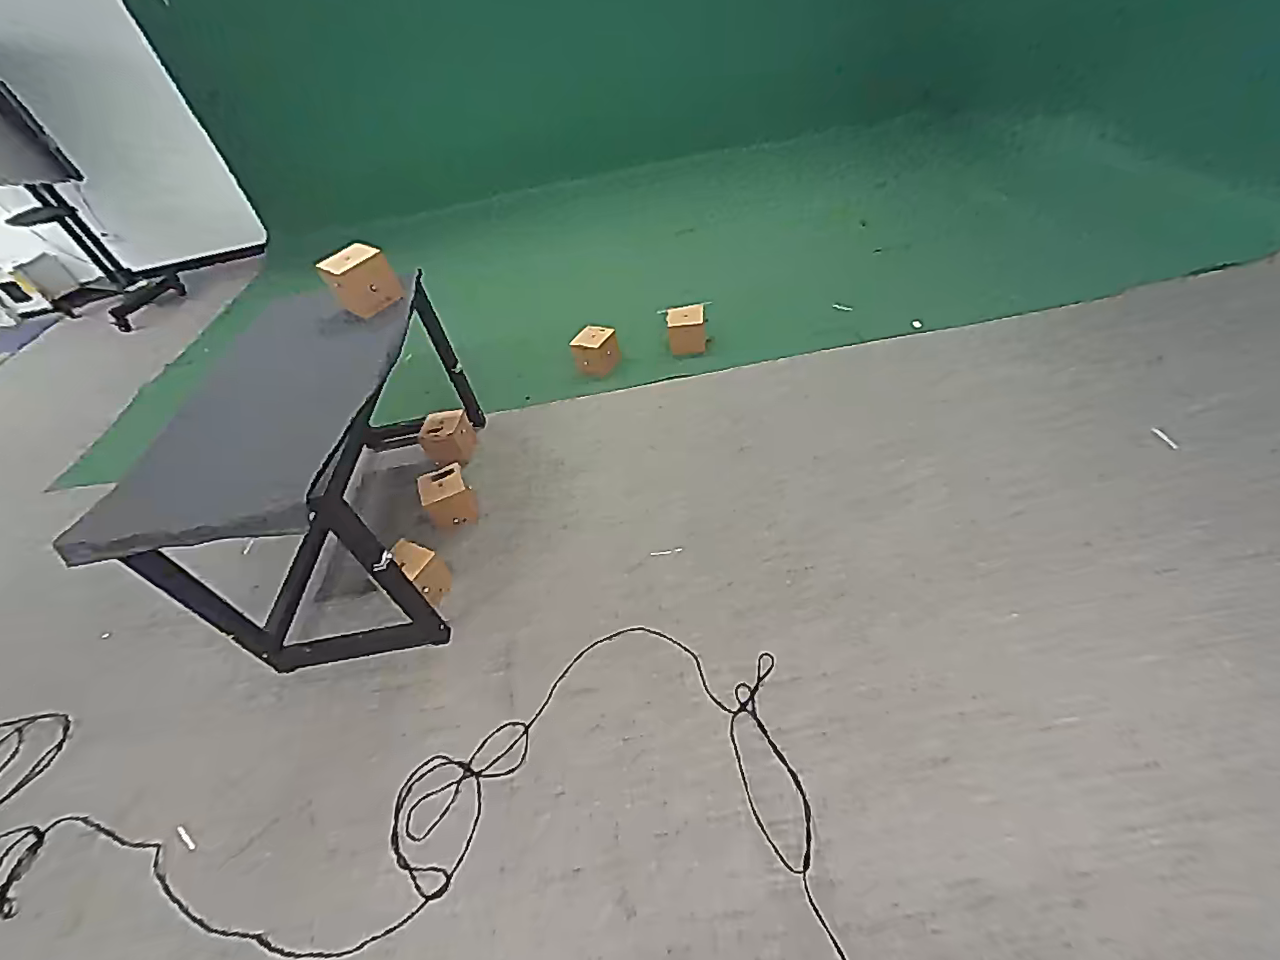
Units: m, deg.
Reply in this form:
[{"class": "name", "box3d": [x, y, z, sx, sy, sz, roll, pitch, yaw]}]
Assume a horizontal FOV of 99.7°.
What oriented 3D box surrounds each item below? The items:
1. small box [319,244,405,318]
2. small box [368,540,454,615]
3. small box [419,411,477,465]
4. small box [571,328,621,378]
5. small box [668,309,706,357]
[{"class": "small box", "box3d": [-0.945, -0.679, 1.853, 0.179, 0.176, 0.168, 27, 60, 33]}, {"class": "small box", "box3d": [-0.778, 0.340, 1.857, 0.179, 0.176, 0.168, 15, 51, 25]}, {"class": "small box", "box3d": [-0.836, -0.179, 2.377, 0.168, 0.176, 0.179, -6, 44, 6]}, {"class": "small box", "box3d": [-0.213, -0.630, 2.687, 0.168, 0.176, 0.179, 16, 52, 26]}, {"class": "small box", "box3d": [0.236, -0.728, 2.685, 0.179, 0.176, 0.168, -3, 47, 8]}]
